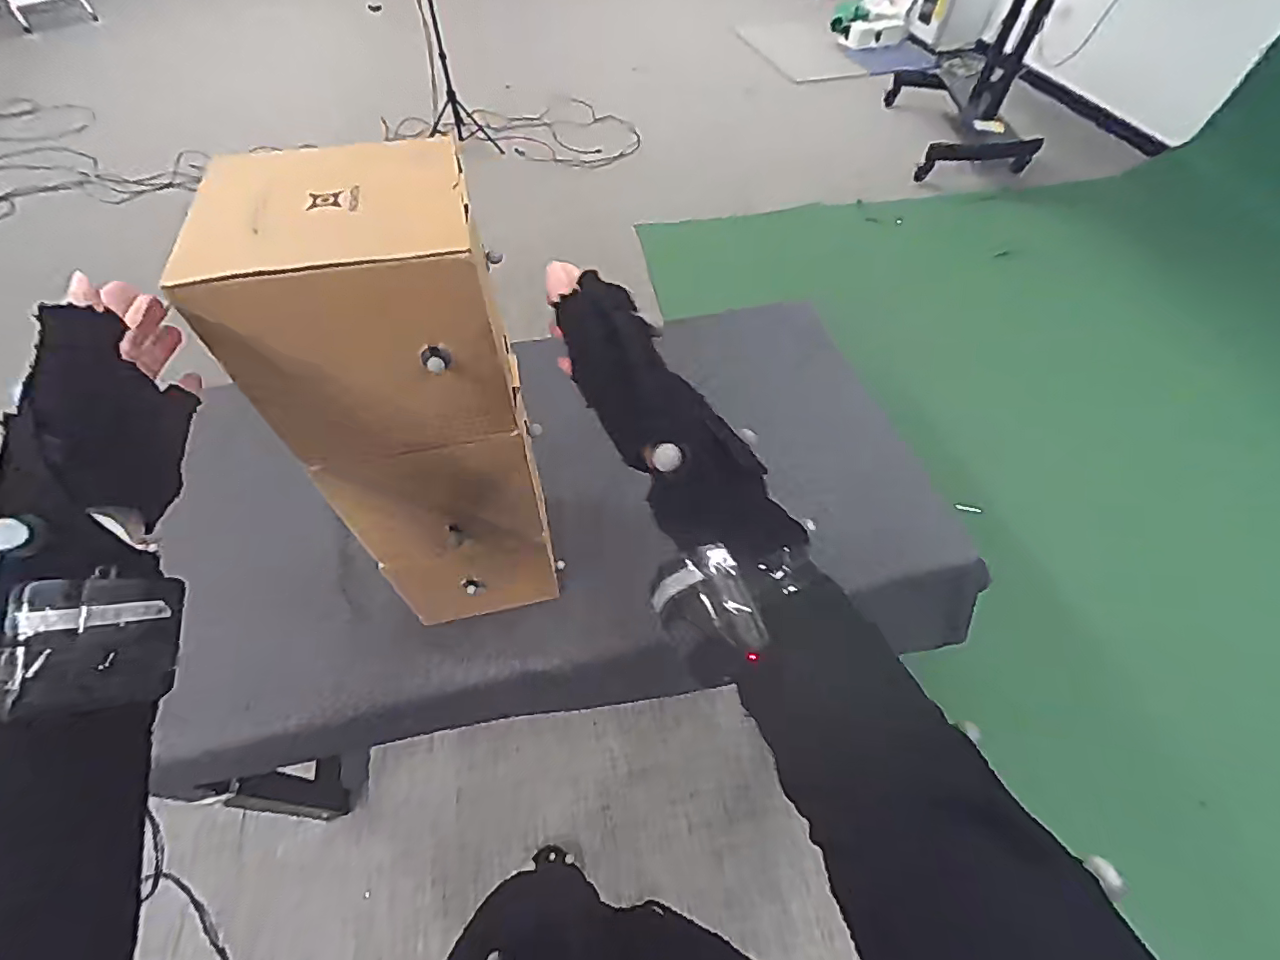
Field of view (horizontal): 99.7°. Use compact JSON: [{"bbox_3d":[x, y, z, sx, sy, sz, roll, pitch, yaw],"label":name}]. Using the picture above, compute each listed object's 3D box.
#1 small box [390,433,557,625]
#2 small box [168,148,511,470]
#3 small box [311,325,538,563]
[{"bbox_3d":[-0.206,0.064,0.692,0.179,0.176,0.168,-12,56,-12],"label":"small box"},{"bbox_3d":[-0.206,-0.131,0.430,0.179,0.176,0.168,-12,54,-8],"label":"small box"},{"bbox_3d":[-0.204,-0.034,0.561,0.179,0.176,0.168,-10,55,-9],"label":"small box"}]
